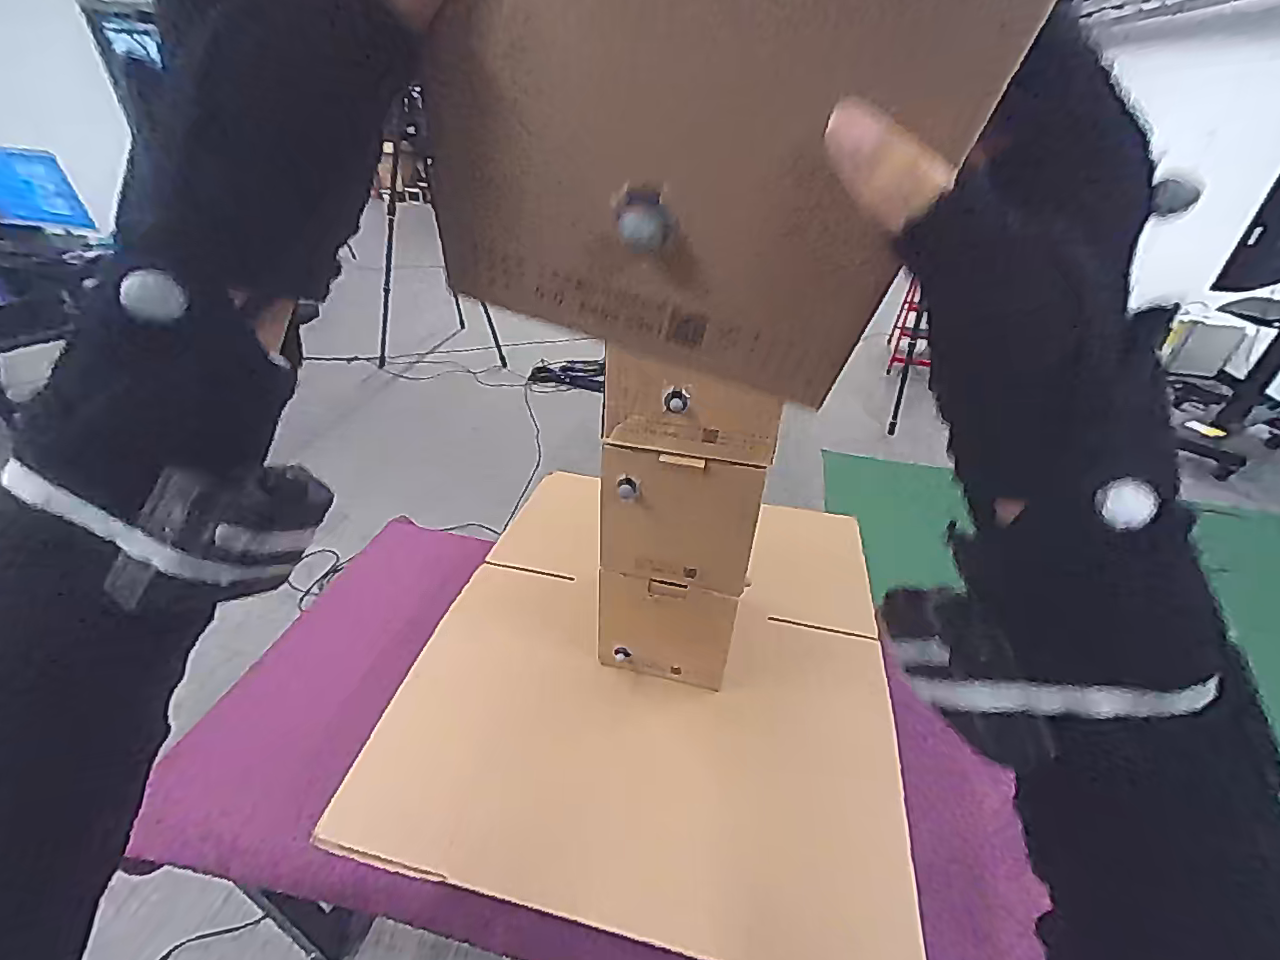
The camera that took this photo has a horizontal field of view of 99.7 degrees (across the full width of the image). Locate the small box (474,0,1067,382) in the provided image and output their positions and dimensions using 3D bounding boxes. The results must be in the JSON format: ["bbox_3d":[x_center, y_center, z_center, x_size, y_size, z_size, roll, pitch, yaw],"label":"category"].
[{"bbox_3d":[0.041,-0.173,0.217,0.168,0.176,0.179,19,51,4],"label":"small box"}]

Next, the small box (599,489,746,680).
[{"bbox_3d":[0.046,0.138,0.723,0.168,0.176,0.179,8,35,7],"label":"small box"}]

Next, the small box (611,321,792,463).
[{"bbox_3d":[0.068,-0.139,0.547,0.168,0.176,0.179,10,33,7],"label":"small box"}]
